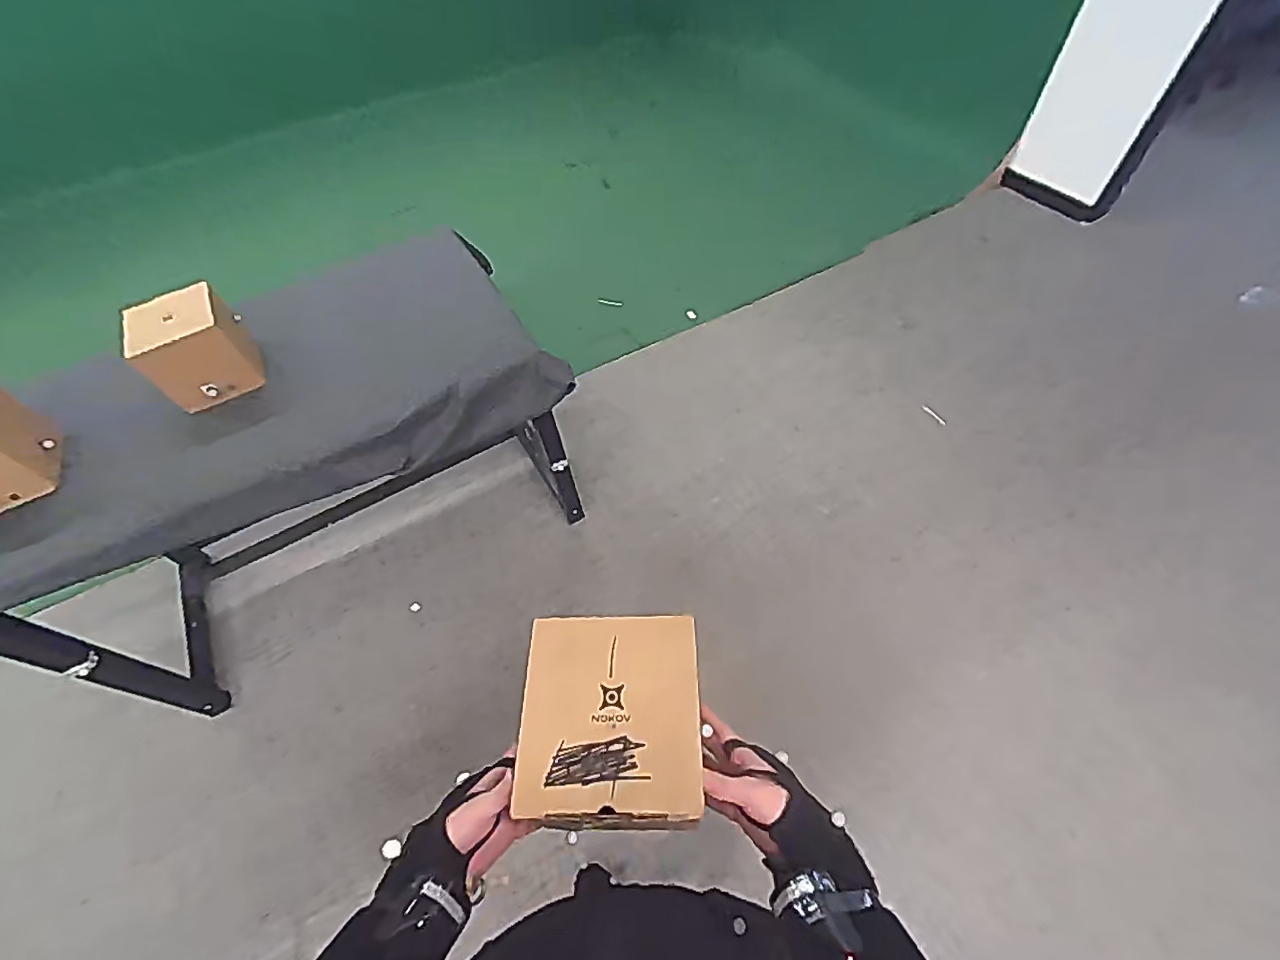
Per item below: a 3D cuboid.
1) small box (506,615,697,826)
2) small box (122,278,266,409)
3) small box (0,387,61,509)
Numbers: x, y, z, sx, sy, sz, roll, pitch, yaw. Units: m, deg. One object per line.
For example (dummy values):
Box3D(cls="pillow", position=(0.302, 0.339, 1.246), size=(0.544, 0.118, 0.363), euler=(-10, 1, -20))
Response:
Box3D(cls="small box", position=(-0.027, 0.254, 0.563), size=(0.168, 0.176, 0.179), euler=(-1, 54, 2))
Box3D(cls="small box", position=(-0.933, -0.283, 1.139), size=(0.168, 0.176, 0.179), euler=(-29, 60, -14))
Box3D(cls="small box", position=(-1.245, -0.057, 1.005), size=(0.168, 0.176, 0.179), euler=(-29, 57, -14))
